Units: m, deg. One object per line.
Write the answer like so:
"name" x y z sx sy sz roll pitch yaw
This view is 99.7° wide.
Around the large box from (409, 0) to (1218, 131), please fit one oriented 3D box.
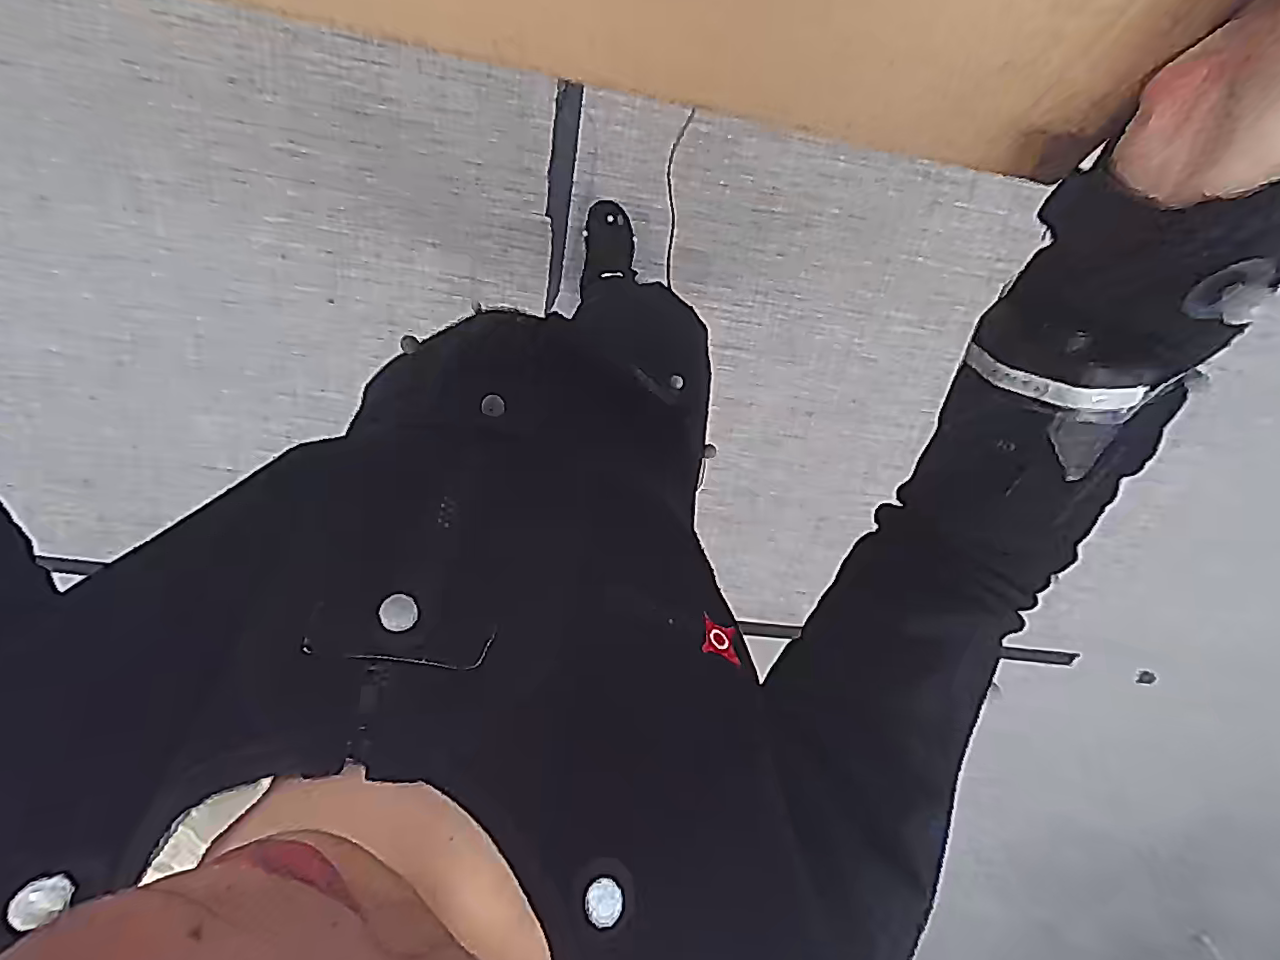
"large box" 0.007 -0.340 0.090 0.408 0.320 0.320 4 72 -11
